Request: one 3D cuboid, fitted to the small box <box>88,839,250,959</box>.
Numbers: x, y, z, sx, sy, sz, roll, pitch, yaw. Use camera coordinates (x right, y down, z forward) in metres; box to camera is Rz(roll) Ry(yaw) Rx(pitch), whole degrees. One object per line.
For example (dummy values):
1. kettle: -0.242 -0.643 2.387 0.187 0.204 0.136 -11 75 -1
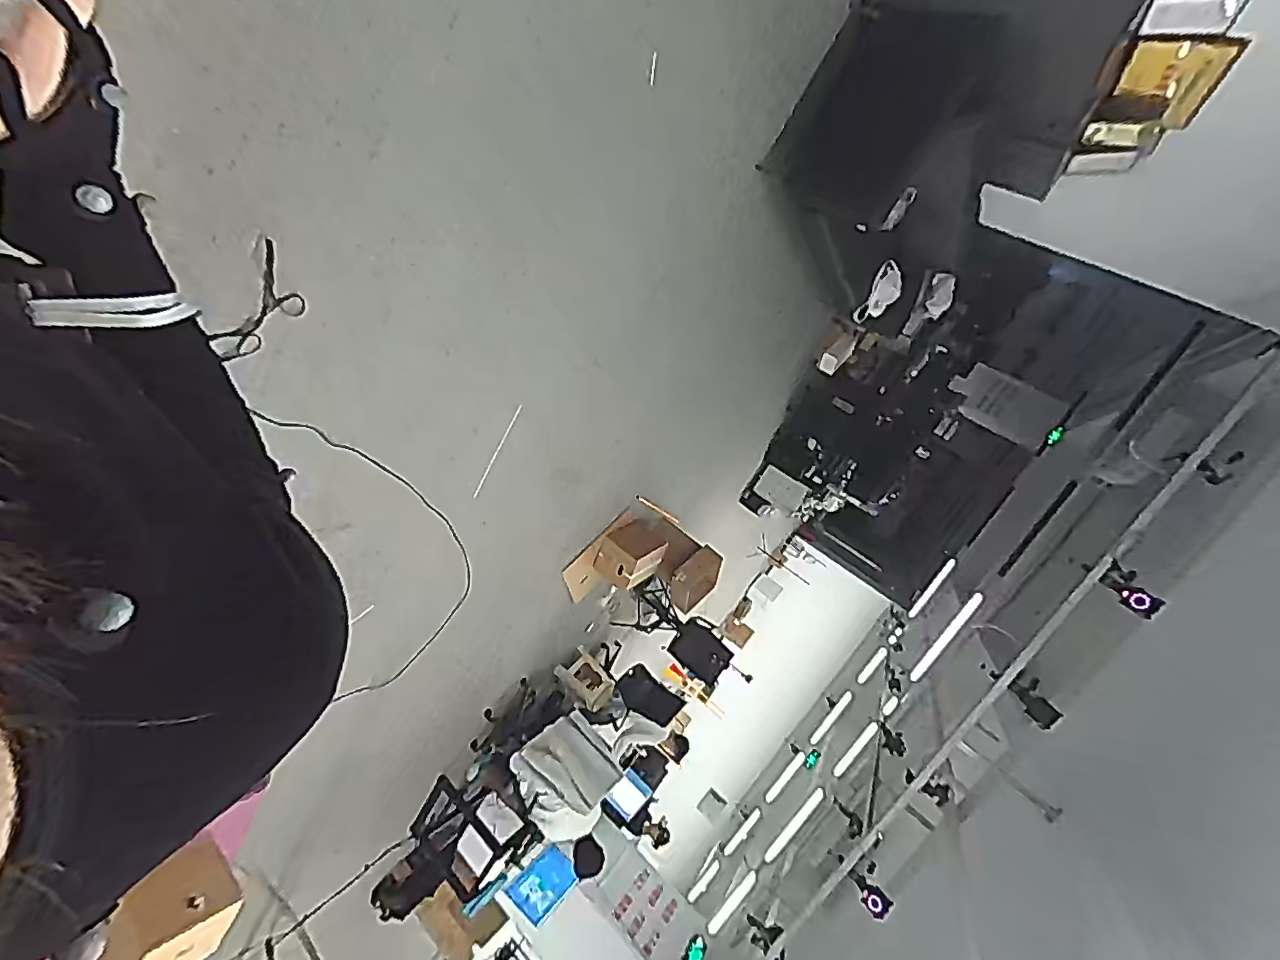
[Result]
1. small box: -0.953 0.885 1.097 0.168 0.176 0.179 -58 157 8
